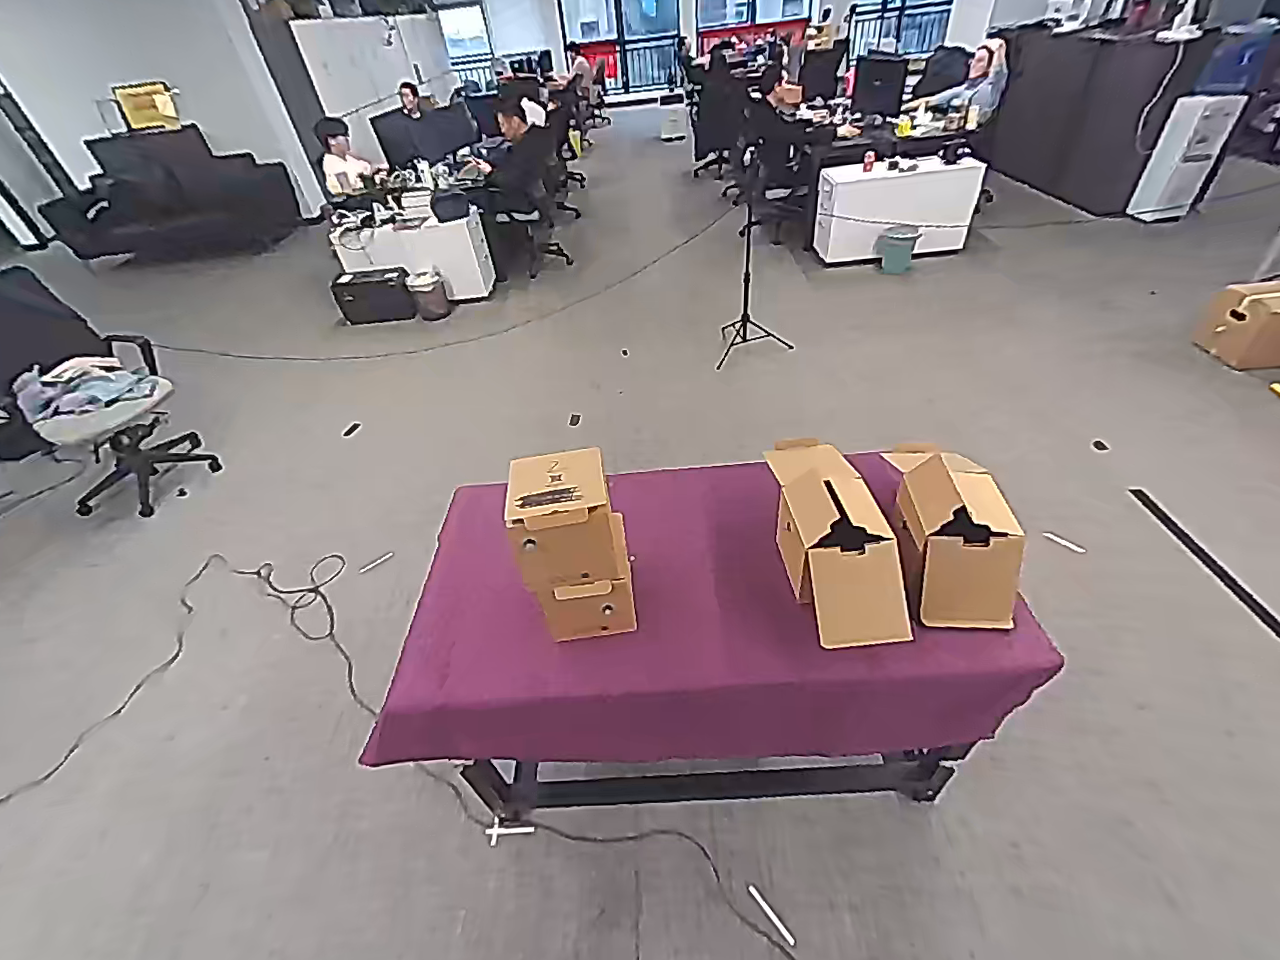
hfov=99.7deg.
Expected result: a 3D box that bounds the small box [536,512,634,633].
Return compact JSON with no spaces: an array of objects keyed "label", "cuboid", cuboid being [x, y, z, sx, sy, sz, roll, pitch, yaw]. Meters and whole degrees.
[{"label":"small box","cuboid":[-0.104,0.191,1.081,0.168,0.176,0.179,-7,41,0]}]

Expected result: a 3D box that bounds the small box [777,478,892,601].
[{"label":"small box","cuboid":[0.378,0.120,1.090,0.168,0.176,0.179,-7,42,2]}]
